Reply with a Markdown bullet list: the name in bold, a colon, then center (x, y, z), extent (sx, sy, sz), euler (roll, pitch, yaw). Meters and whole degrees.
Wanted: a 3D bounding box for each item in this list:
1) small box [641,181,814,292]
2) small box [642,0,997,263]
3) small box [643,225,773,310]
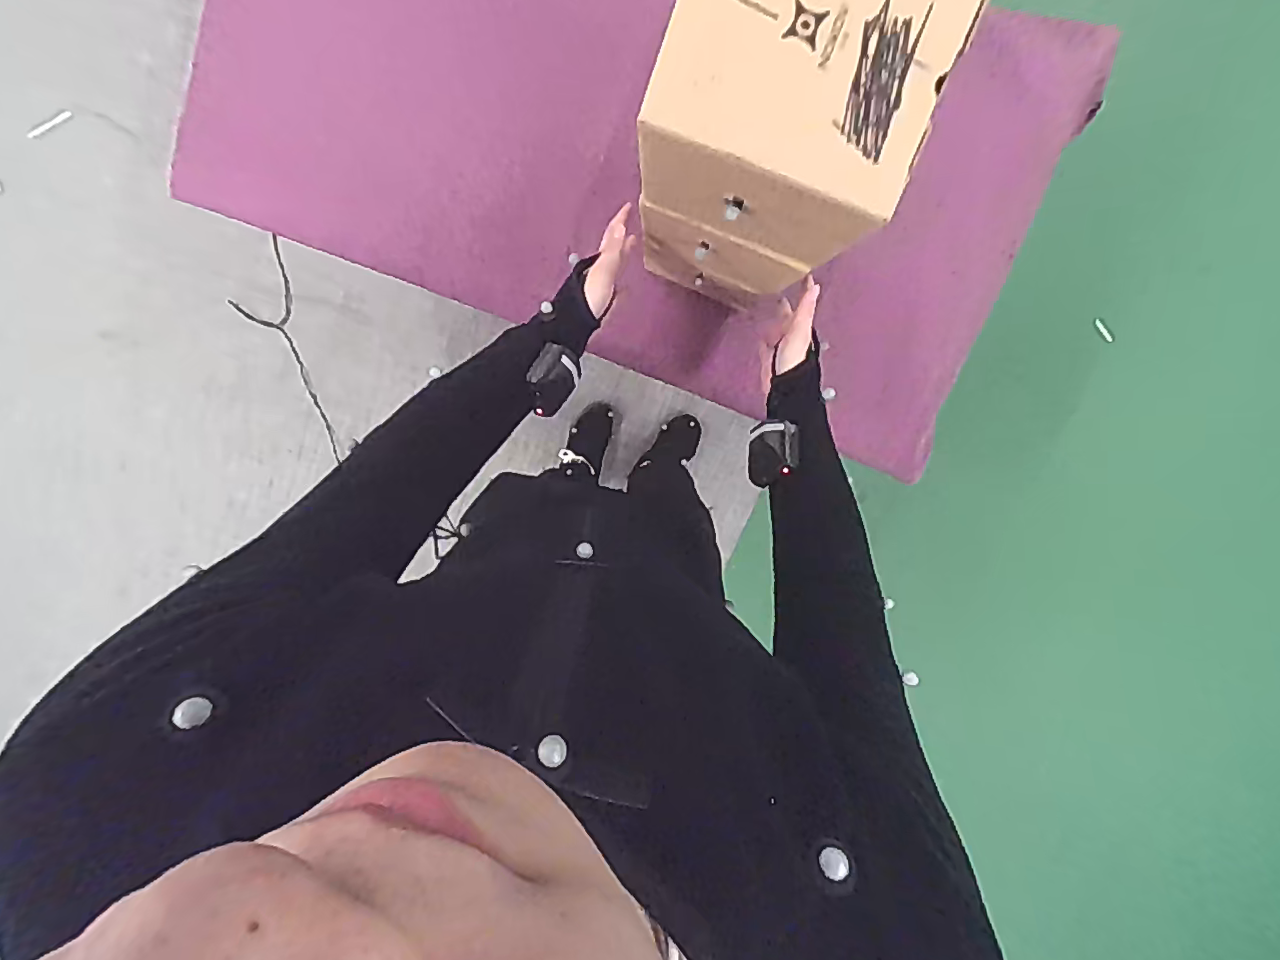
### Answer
- **small box**: center (0.113, -0.312, 0.569), extent (0.179, 0.176, 0.168), euler (22, 102, -2)
- **small box**: center (0.112, -0.280, 0.407), extent (0.179, 0.176, 0.168), euler (21, 101, -2)
- **small box**: center (0.115, -0.343, 0.729), extent (0.179, 0.176, 0.168), euler (23, 101, -4)
